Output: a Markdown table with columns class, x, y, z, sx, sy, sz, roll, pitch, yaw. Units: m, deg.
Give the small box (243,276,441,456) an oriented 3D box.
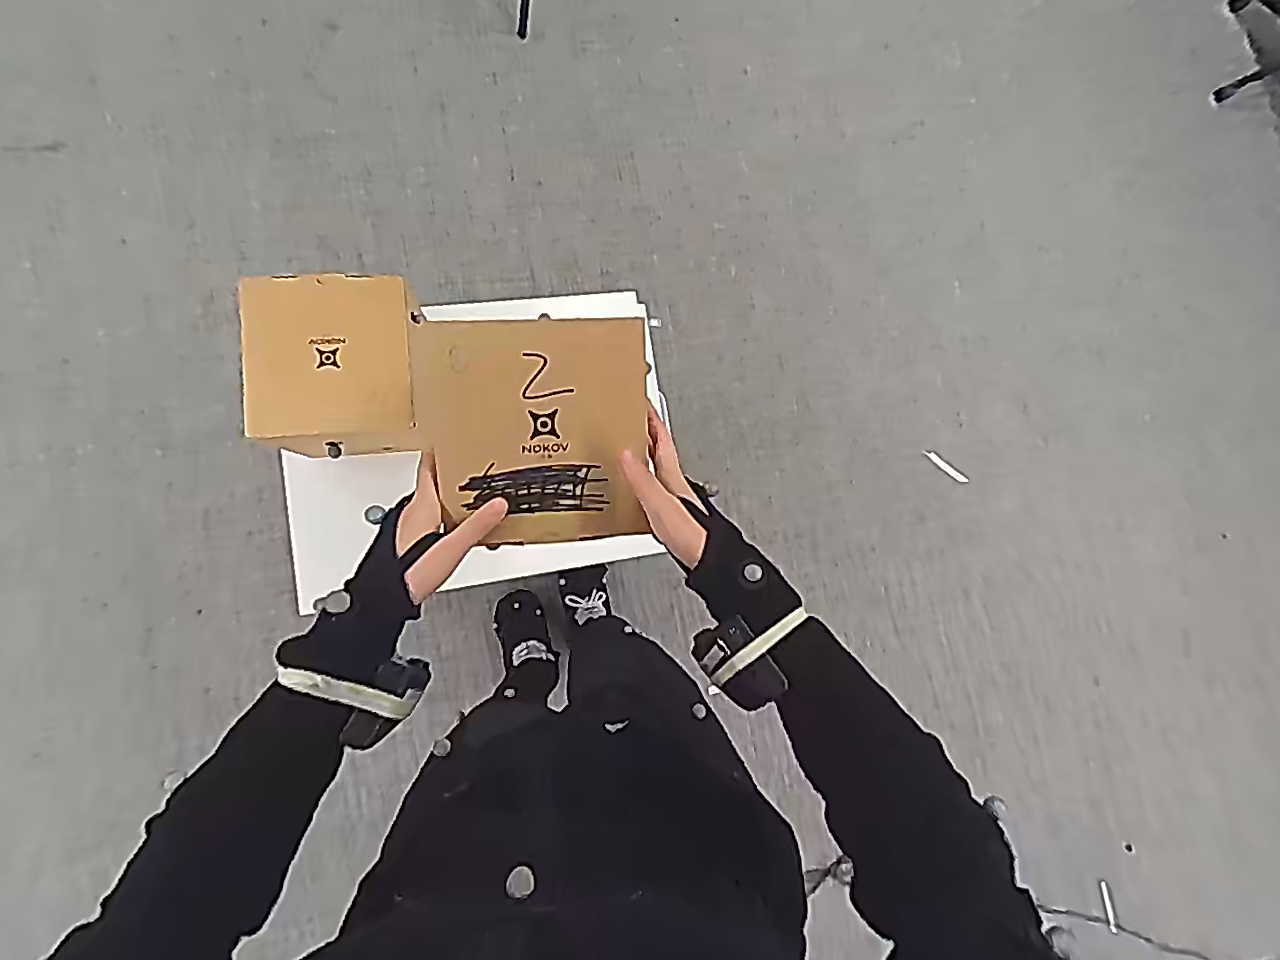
| class | x | y | z | sx | sy | sz | roll | pitch | yaw |
| --- | --- | --- | --- | --- | --- | --- | --- | --- | --- |
| small box | -0.343 | -0.126 | 0.653 | 0.168 | 0.176 | 0.179 | -5 | 85 | -12 |
